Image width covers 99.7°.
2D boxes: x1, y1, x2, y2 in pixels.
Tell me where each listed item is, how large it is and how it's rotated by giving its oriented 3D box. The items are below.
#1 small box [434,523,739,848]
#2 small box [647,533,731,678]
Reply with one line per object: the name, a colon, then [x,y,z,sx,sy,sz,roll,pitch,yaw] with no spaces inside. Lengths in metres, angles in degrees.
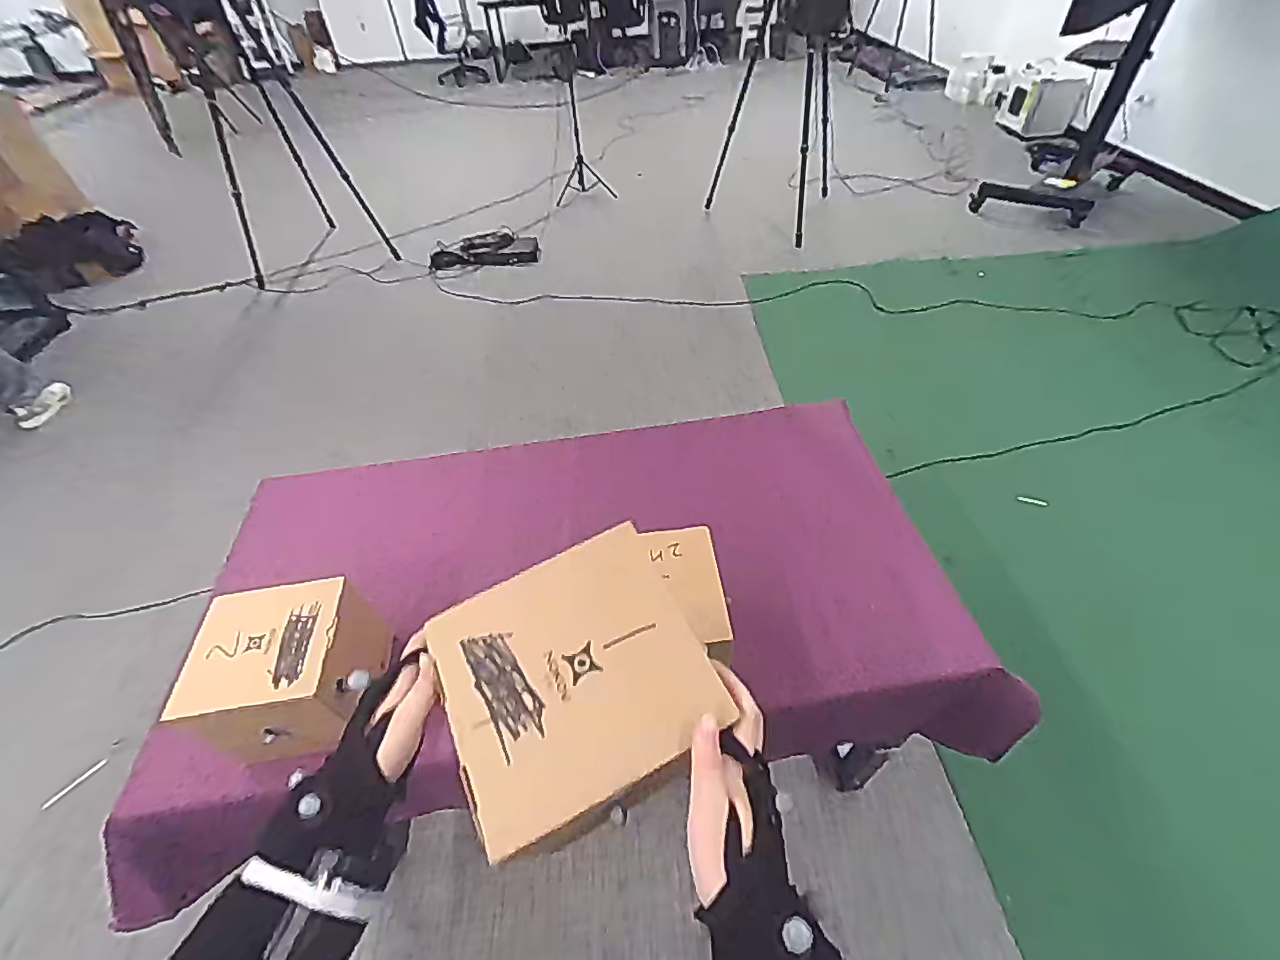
small box: [-0.036,0.171,0.444,0.179,0.176,0.168,-25,59,-9]
small box: [0.027,0.198,0.754,0.168,0.176,0.179,-5,47,-2]
